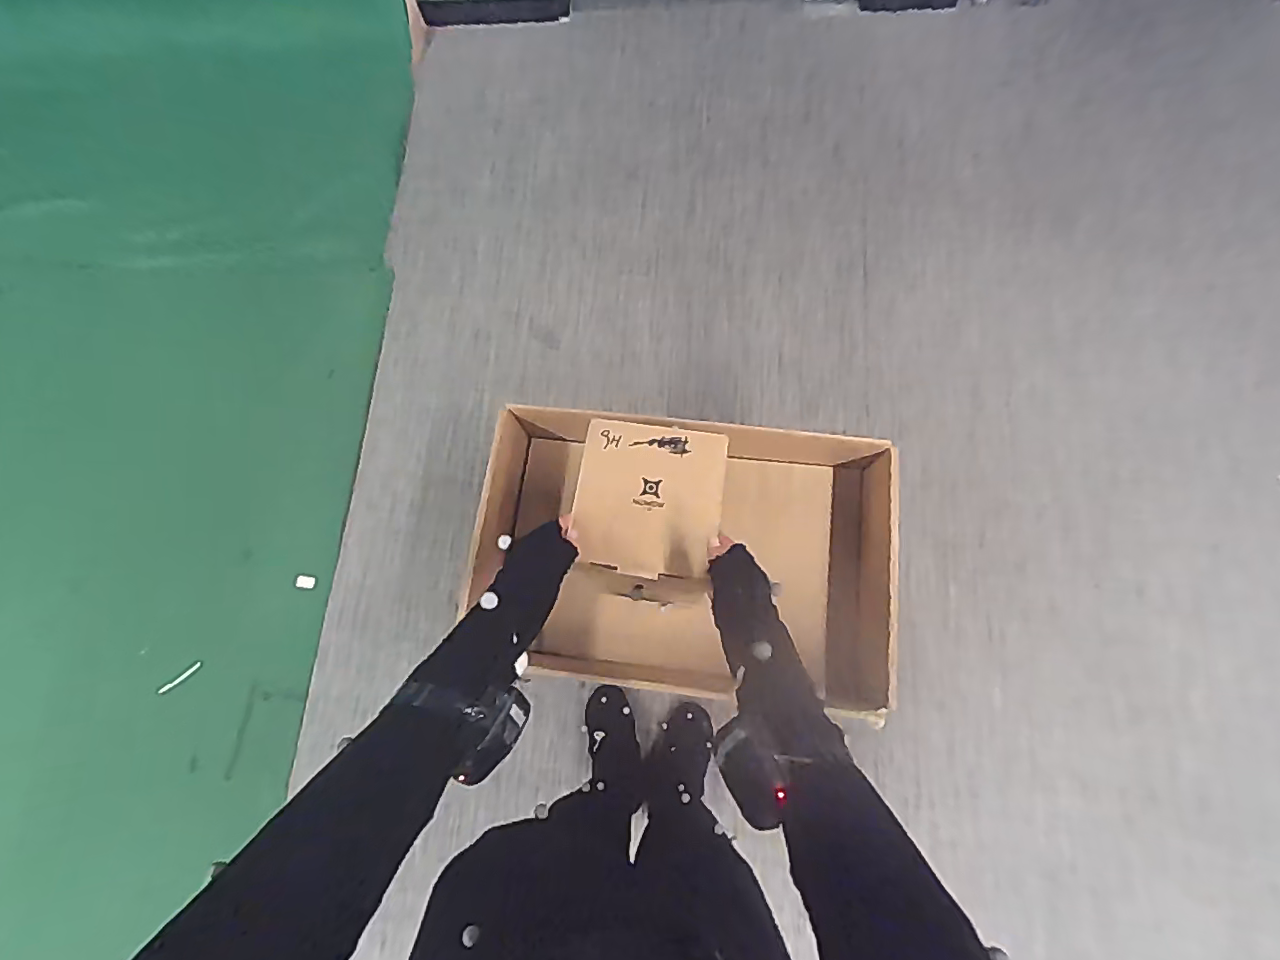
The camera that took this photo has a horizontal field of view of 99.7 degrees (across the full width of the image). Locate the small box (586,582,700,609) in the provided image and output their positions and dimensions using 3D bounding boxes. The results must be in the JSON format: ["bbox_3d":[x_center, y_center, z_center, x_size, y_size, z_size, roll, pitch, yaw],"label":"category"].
[{"bbox_3d":[0.021,0.104,0.851,0.168,0.176,0.179,8,75,4],"label":"small box"}]

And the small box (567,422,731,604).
[{"bbox_3d":[0.015,0.051,0.680,0.168,0.176,0.179,8,69,3],"label":"small box"}]
